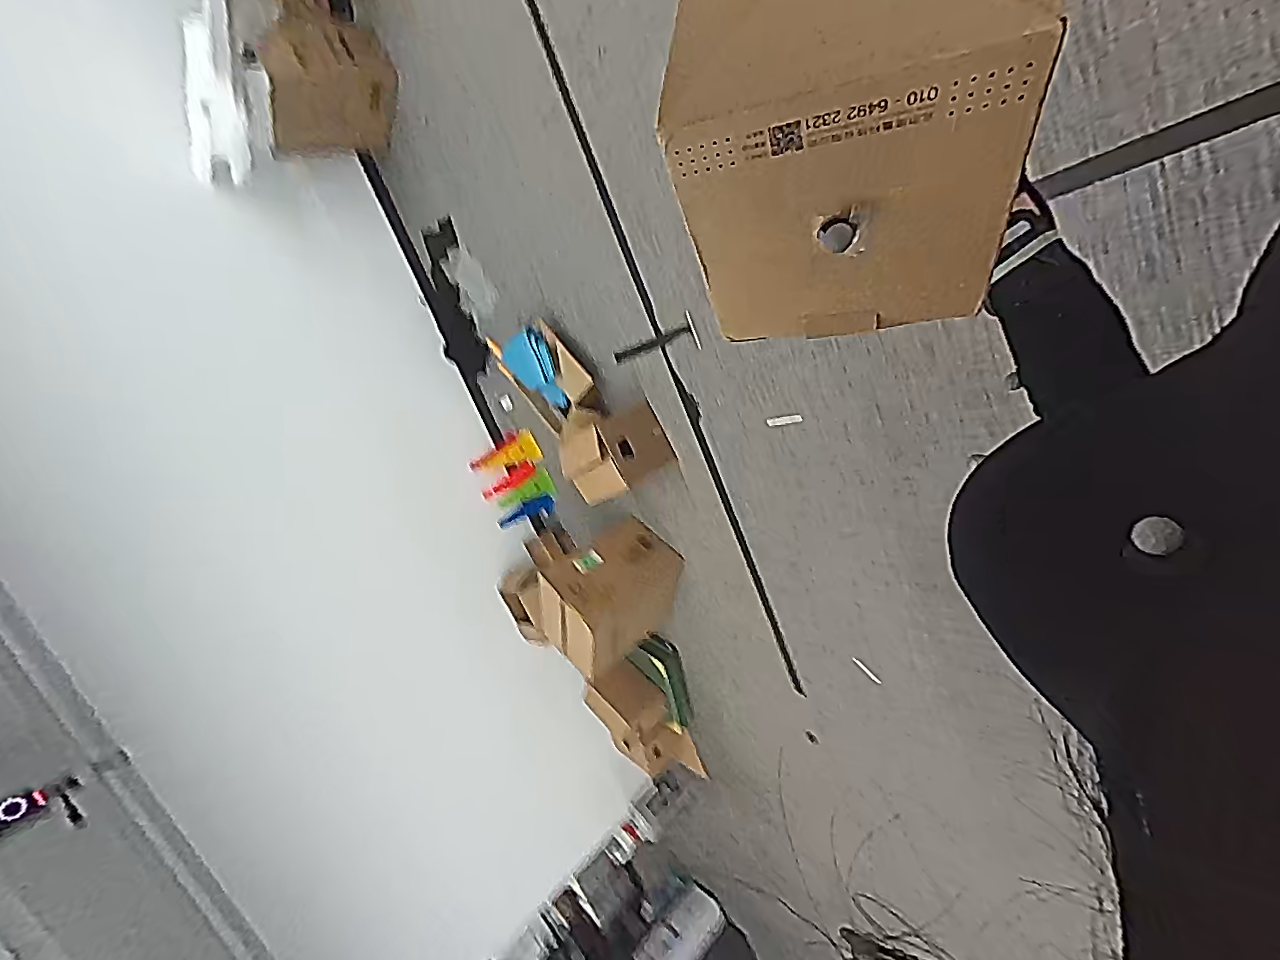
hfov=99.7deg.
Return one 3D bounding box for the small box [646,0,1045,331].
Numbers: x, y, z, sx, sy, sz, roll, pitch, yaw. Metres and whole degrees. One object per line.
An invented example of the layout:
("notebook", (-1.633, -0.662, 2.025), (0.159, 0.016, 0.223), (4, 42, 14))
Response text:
("small box", (0.113, -0.217, 0.317), (0.168, 0.179, 0.176), (1, 156, 22))
